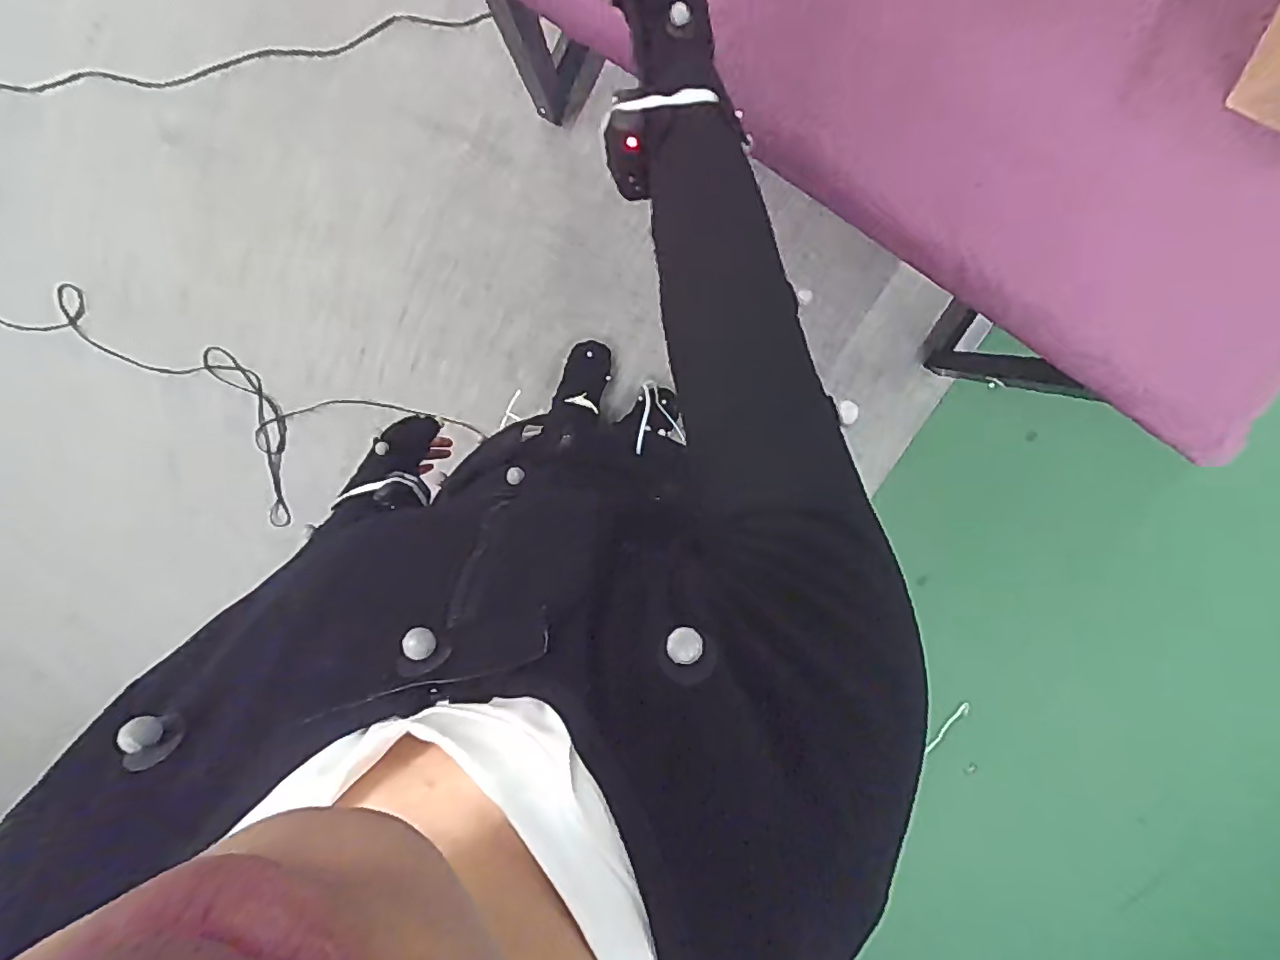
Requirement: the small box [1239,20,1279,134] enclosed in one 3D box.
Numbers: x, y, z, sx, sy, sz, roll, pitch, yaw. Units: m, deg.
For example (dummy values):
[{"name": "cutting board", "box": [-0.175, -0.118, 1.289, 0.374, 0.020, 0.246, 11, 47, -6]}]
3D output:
[{"name": "small box", "box": [0.774, -0.447, 0.531, 0.168, 0.176, 0.179, 20, 105, -6]}]
